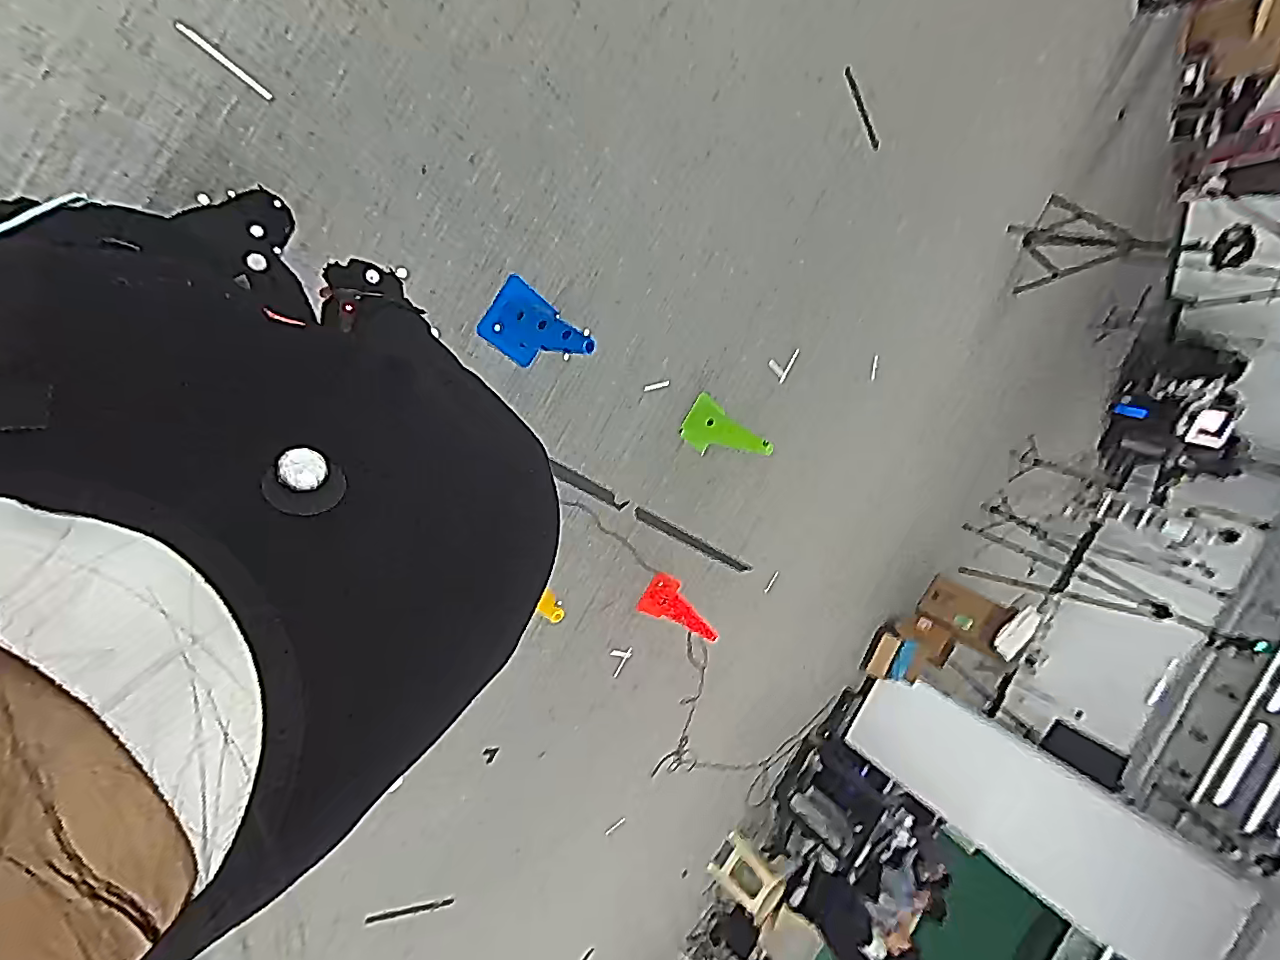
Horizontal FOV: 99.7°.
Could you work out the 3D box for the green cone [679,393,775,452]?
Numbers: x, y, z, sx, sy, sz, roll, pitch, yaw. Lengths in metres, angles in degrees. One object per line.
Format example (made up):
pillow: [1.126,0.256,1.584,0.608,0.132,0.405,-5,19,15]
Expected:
green cone: [0.361,-0.174,2.081,0.200,0.368,0.202,31,88,-46]

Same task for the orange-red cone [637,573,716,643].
orange-red cone: [0.190,0.586,2.319,0.198,0.360,0.199,37,86,-45]

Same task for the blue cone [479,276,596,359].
blue cone: [-0.245,-0.402,1.428,0.193,0.380,0.192,36,84,-47]
